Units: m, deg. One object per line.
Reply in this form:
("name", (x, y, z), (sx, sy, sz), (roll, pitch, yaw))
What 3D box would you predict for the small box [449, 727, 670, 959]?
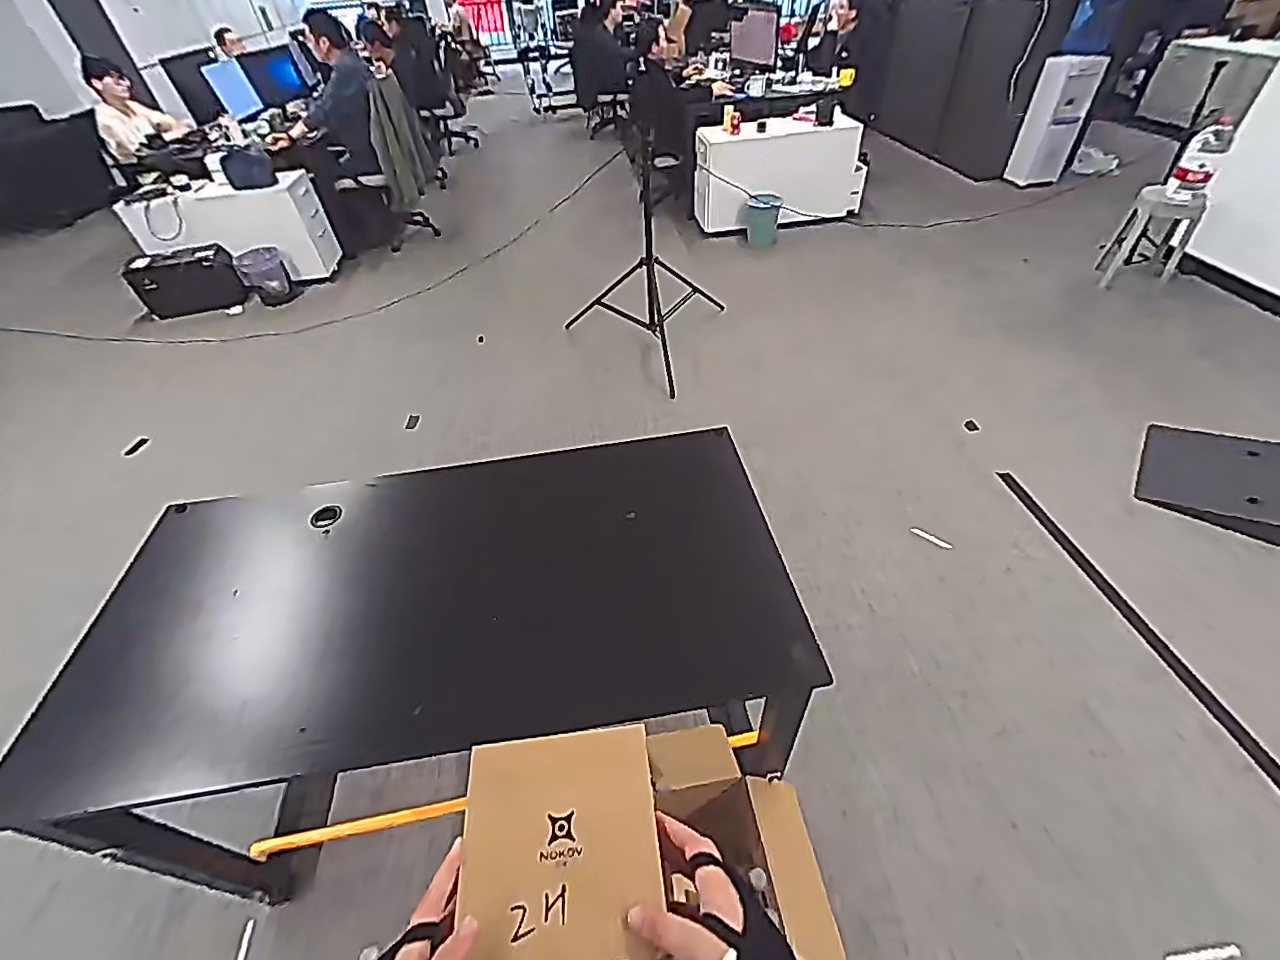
("small box", (-0.066, 0.361, 0.507), (0.168, 0.176, 0.179), (-6, 44, -3))
